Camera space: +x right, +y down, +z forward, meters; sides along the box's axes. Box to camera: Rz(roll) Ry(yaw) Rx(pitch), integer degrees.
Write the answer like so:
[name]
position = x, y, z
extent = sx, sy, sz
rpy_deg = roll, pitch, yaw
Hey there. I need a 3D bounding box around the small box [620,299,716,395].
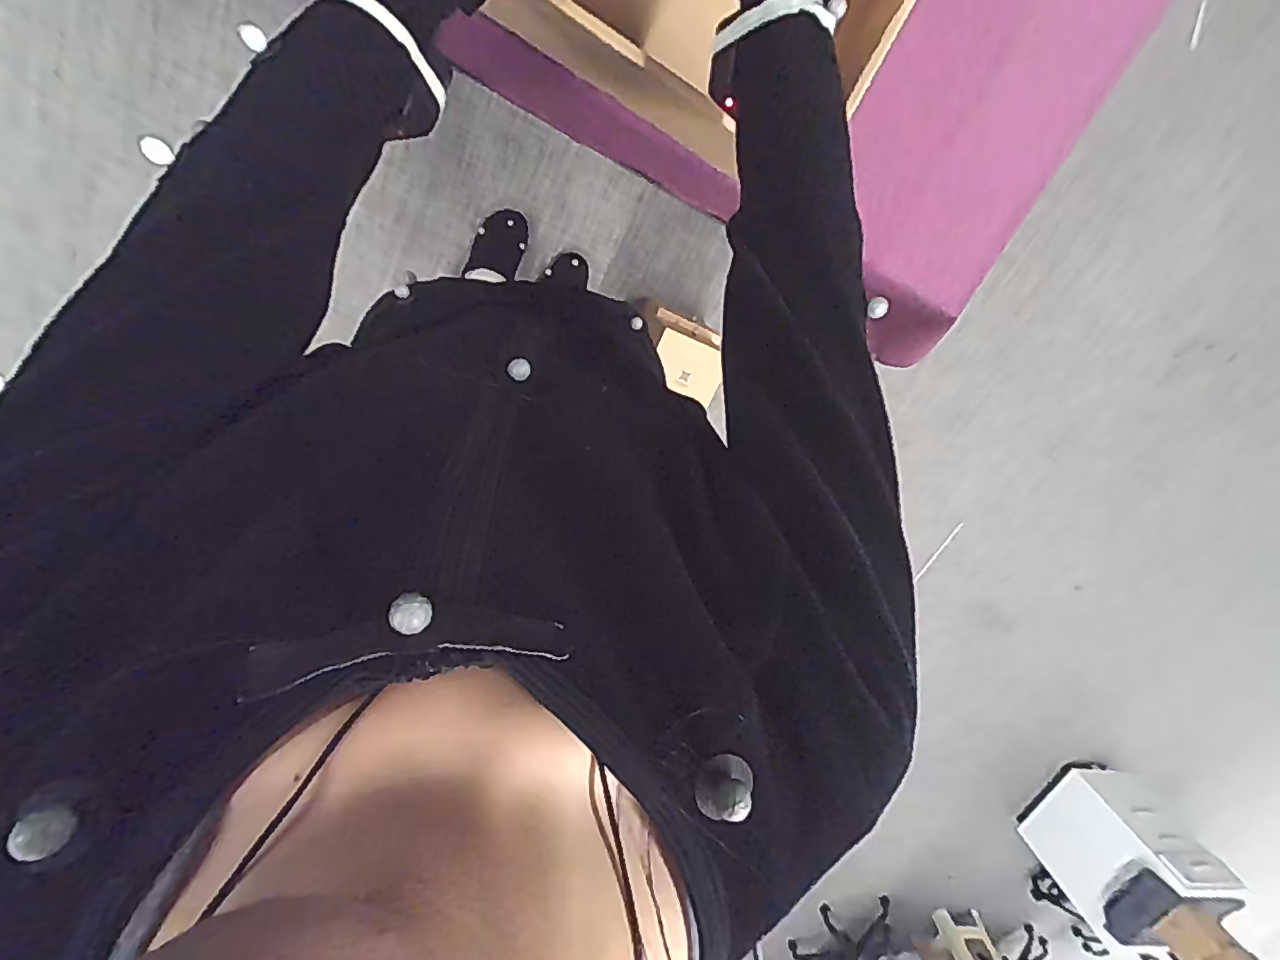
[small box]
position = 0.064, -0.347, 1.383
extent = 0.179, 0.176, 0.168
rpy_deg = 21, 111, -19
